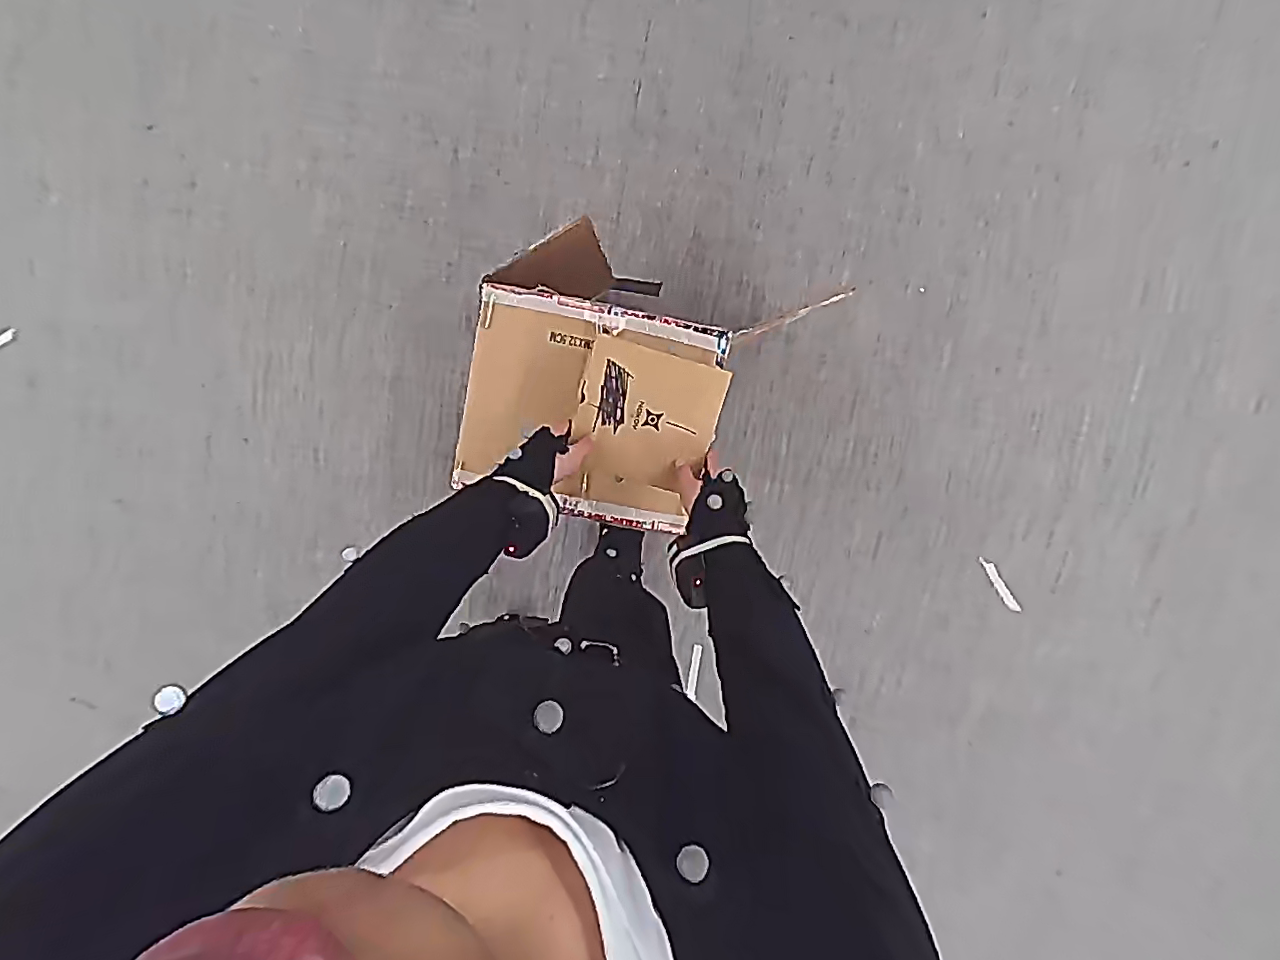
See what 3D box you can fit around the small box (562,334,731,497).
[{"bbox_3d":[0.008,-0.088,0.747,0.179,0.176,0.168,16,98,-2],"label":"small box"}]
